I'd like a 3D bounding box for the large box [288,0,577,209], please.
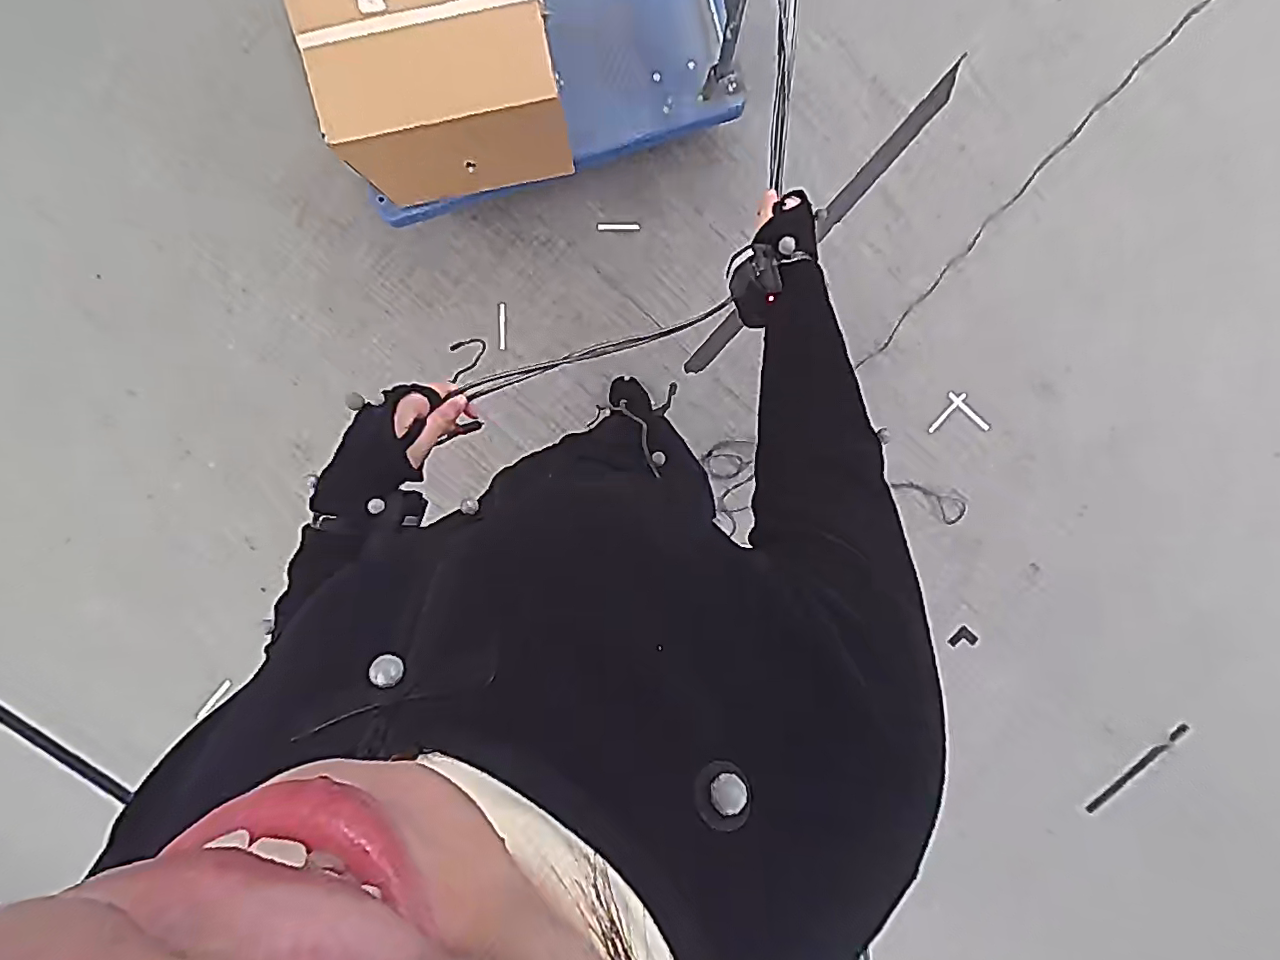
[{"bbox_3d":[-0.362,-0.765,1.032,0.408,0.320,0.320,-12,98,1],"label":"large box"}]
